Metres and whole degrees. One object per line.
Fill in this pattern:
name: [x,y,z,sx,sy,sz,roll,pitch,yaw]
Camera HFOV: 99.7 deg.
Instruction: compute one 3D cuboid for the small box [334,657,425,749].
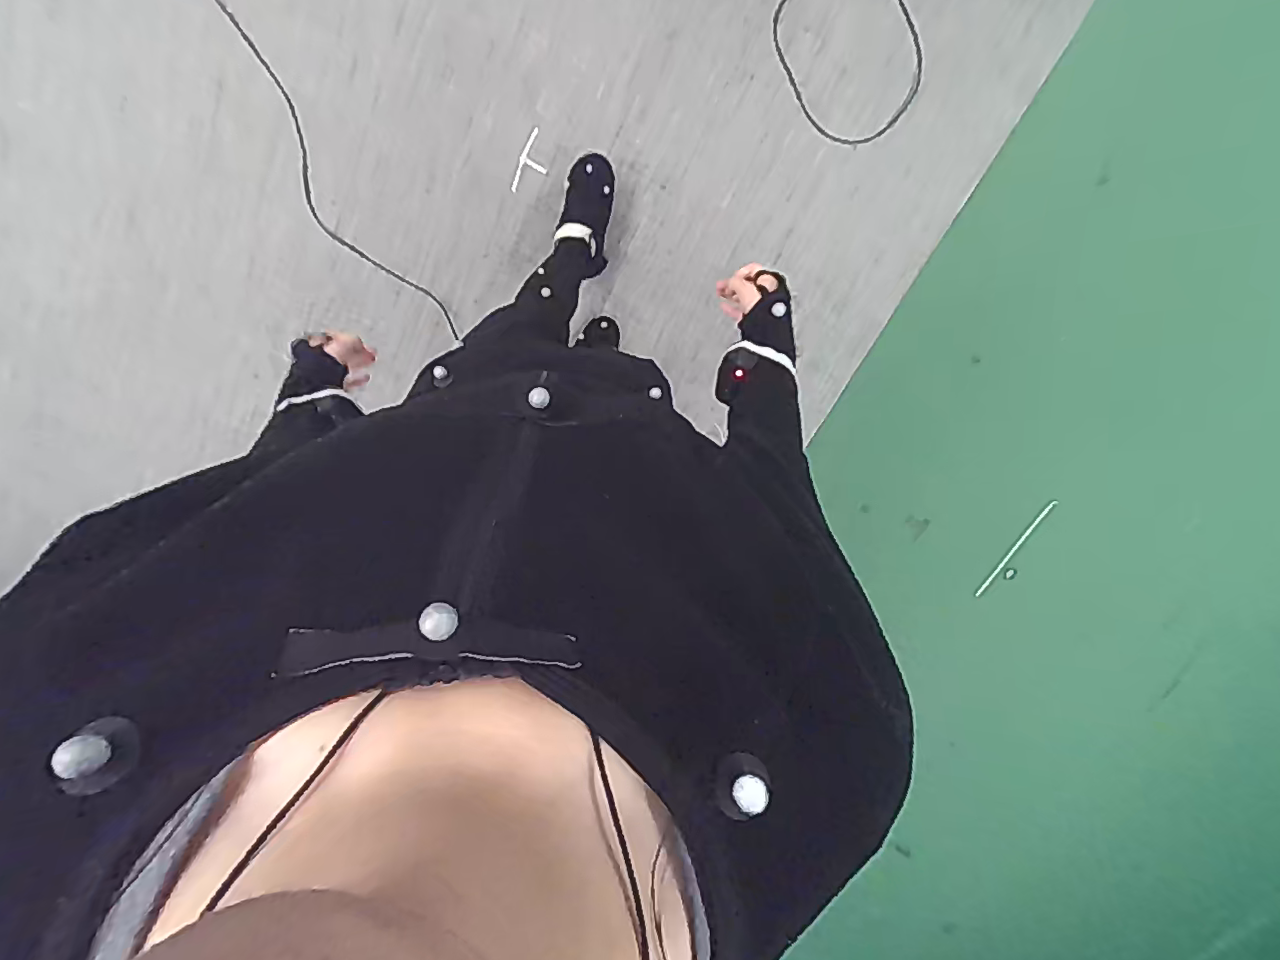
small box: [-0.772,0.660,1.619,0.179,0.176,0.168,23,107,-15]
